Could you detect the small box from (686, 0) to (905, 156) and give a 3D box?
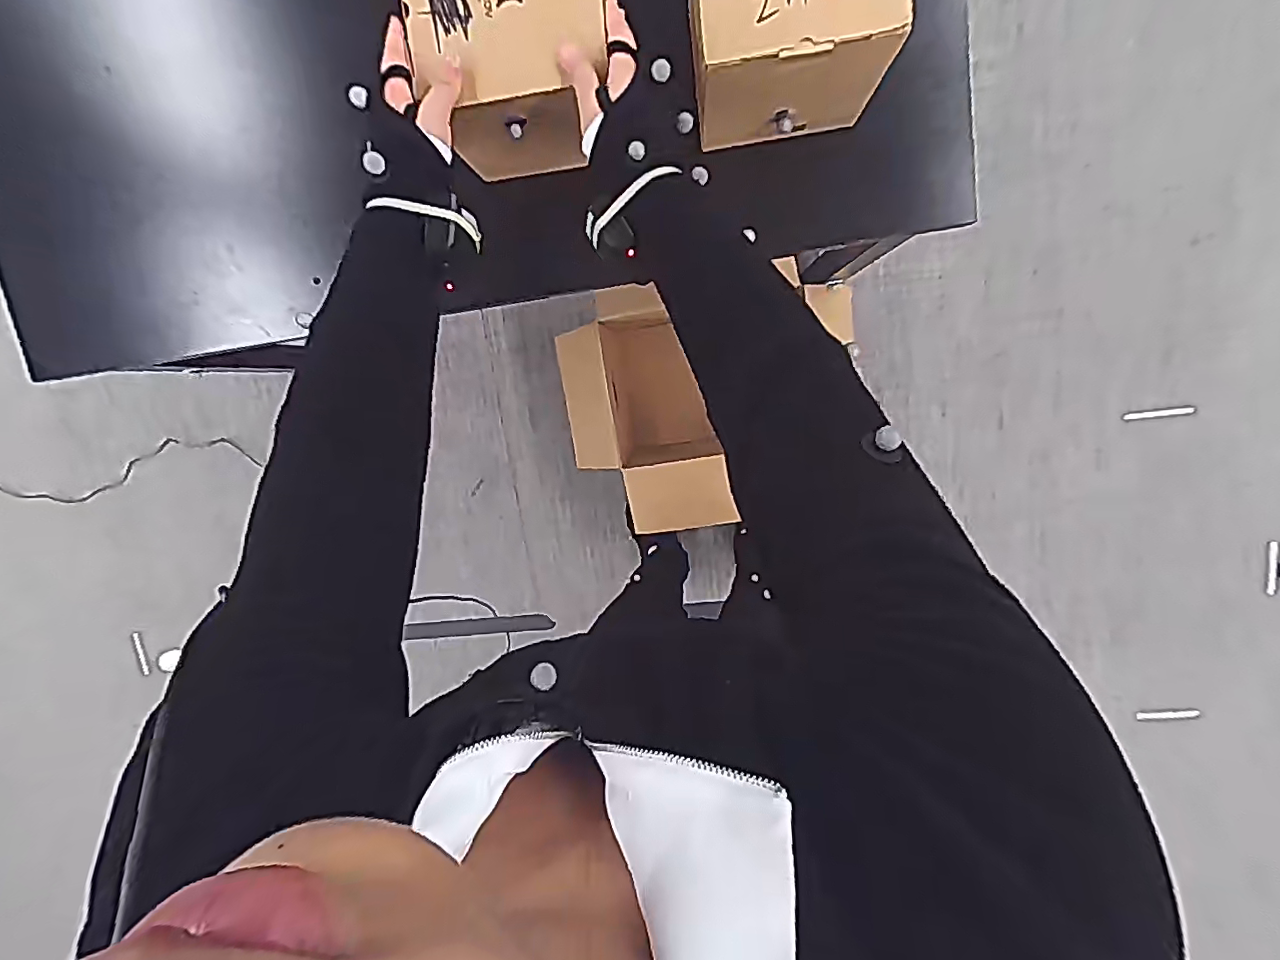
[{"bbox_3d":[0.130,-0.441,0.505,0.168,0.176,0.179,-5,99,7],"label":"small box"}]

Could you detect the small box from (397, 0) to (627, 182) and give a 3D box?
[{"bbox_3d":[-0.114,-0.417,0.532,0.179,0.176,0.168,-5,100,5],"label":"small box"}]
